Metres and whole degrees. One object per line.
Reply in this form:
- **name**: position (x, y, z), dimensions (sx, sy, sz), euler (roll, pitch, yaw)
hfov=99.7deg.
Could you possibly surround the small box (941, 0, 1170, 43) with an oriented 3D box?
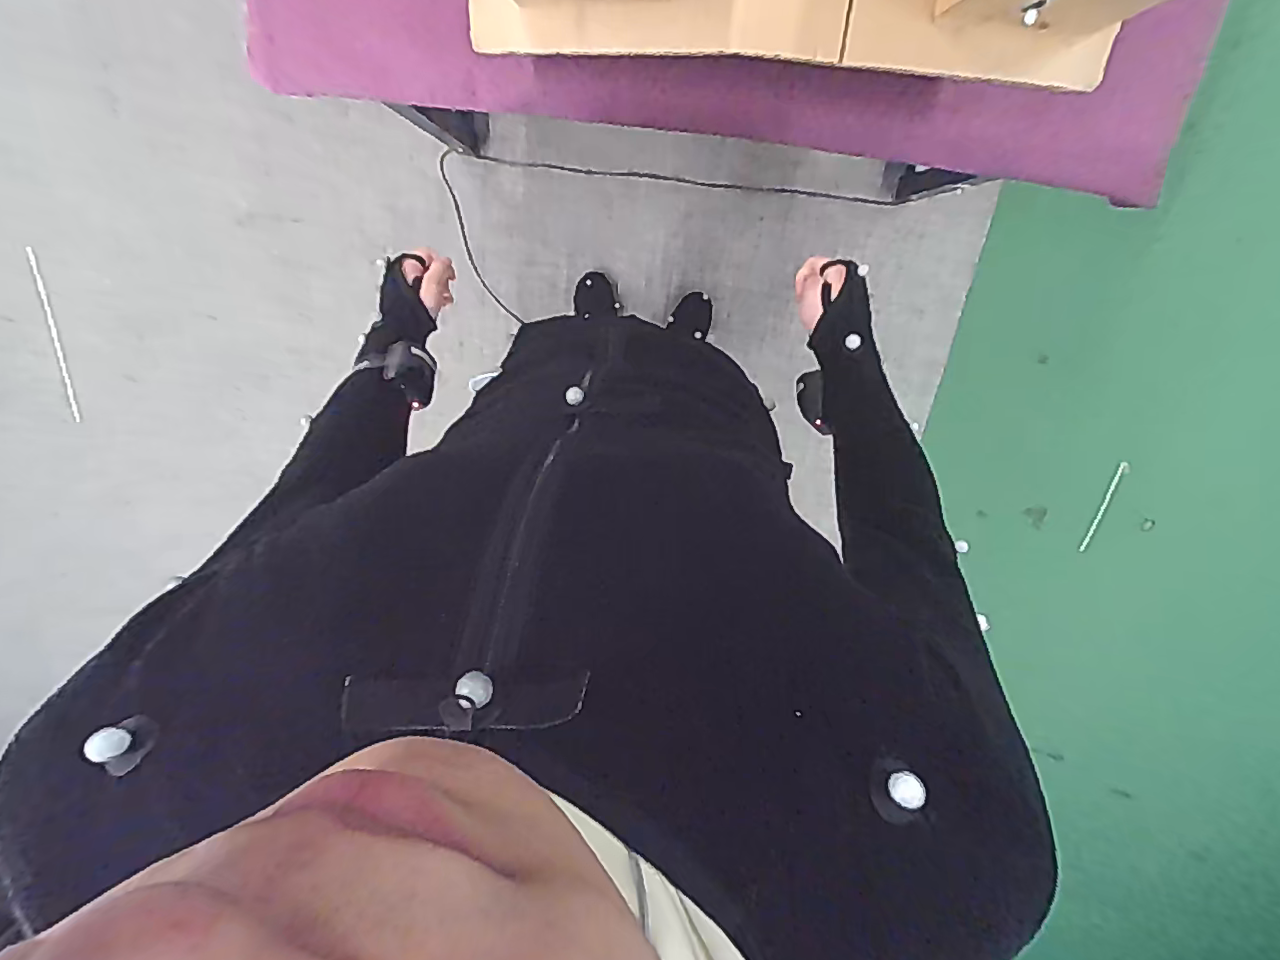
- **small box**: position (0.388, -0.508, 0.450), dimensions (0.168, 0.176, 0.179), euler (2, 113, -5)
